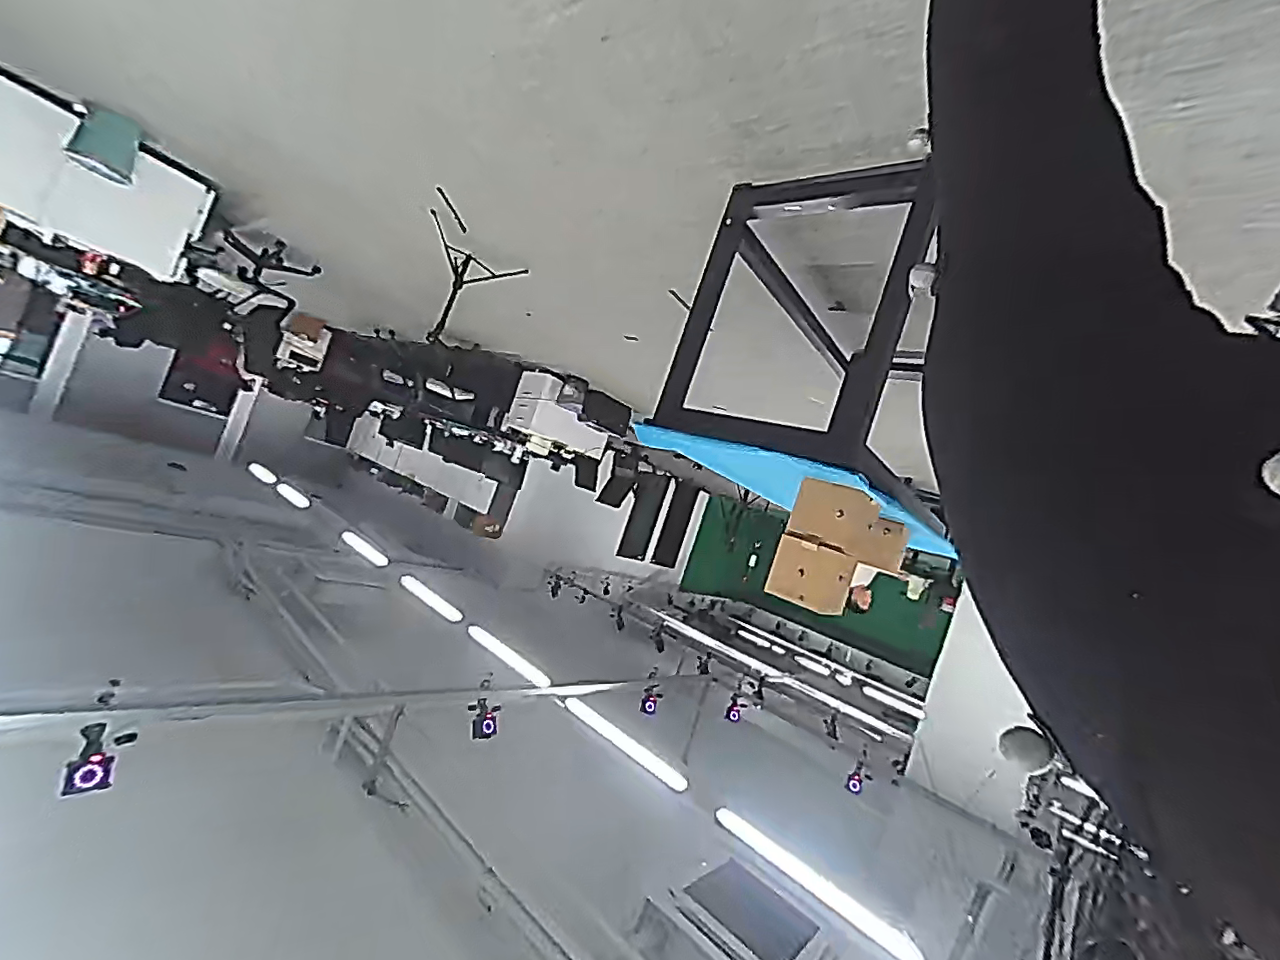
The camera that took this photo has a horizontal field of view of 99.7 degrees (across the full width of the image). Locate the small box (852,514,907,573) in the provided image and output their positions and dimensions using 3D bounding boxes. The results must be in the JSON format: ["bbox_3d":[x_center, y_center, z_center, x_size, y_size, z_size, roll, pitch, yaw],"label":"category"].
[{"bbox_3d":[0.796,0.213,1.867,0.179,0.176,0.168,16,175,35],"label":"small box"}]

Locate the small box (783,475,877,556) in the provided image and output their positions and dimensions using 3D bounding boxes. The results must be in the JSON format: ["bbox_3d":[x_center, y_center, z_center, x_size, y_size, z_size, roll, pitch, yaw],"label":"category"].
[{"bbox_3d":[0.526,0.101,1.498,0.179,0.176,0.168,17,177,41],"label":"small box"}]

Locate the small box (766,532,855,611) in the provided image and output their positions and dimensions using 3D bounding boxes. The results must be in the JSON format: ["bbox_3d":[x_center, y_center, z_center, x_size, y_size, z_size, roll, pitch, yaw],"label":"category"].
[{"bbox_3d":[0.465,0.253,1.490,0.168,0.176,0.179,18,180,39],"label":"small box"}]
